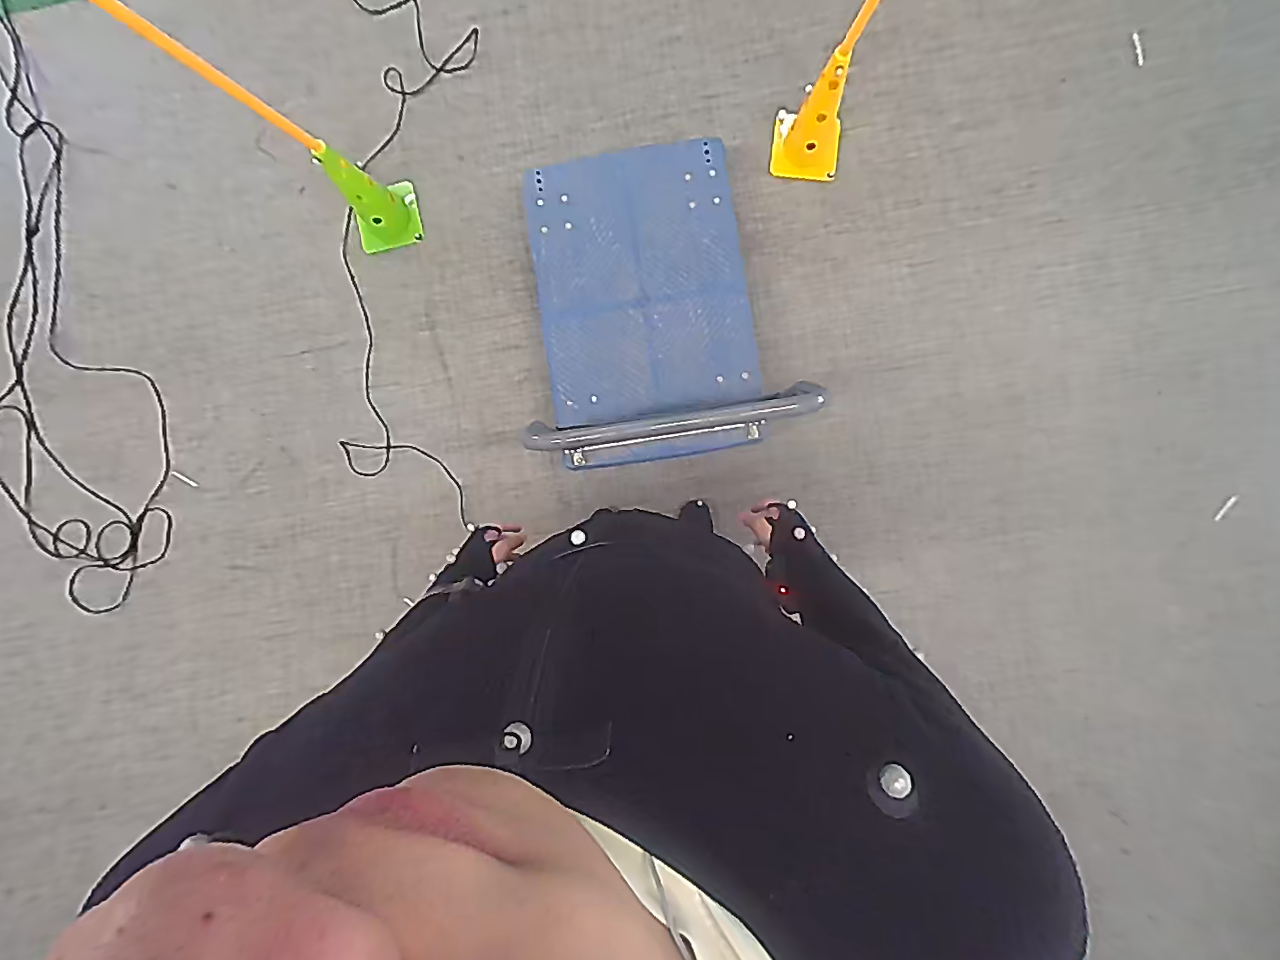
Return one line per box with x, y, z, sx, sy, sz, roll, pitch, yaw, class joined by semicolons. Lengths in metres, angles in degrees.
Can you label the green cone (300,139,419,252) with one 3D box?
-0.822;-0.842;1.540;0.202;0.368;0.200;-14;87;4;green cone
